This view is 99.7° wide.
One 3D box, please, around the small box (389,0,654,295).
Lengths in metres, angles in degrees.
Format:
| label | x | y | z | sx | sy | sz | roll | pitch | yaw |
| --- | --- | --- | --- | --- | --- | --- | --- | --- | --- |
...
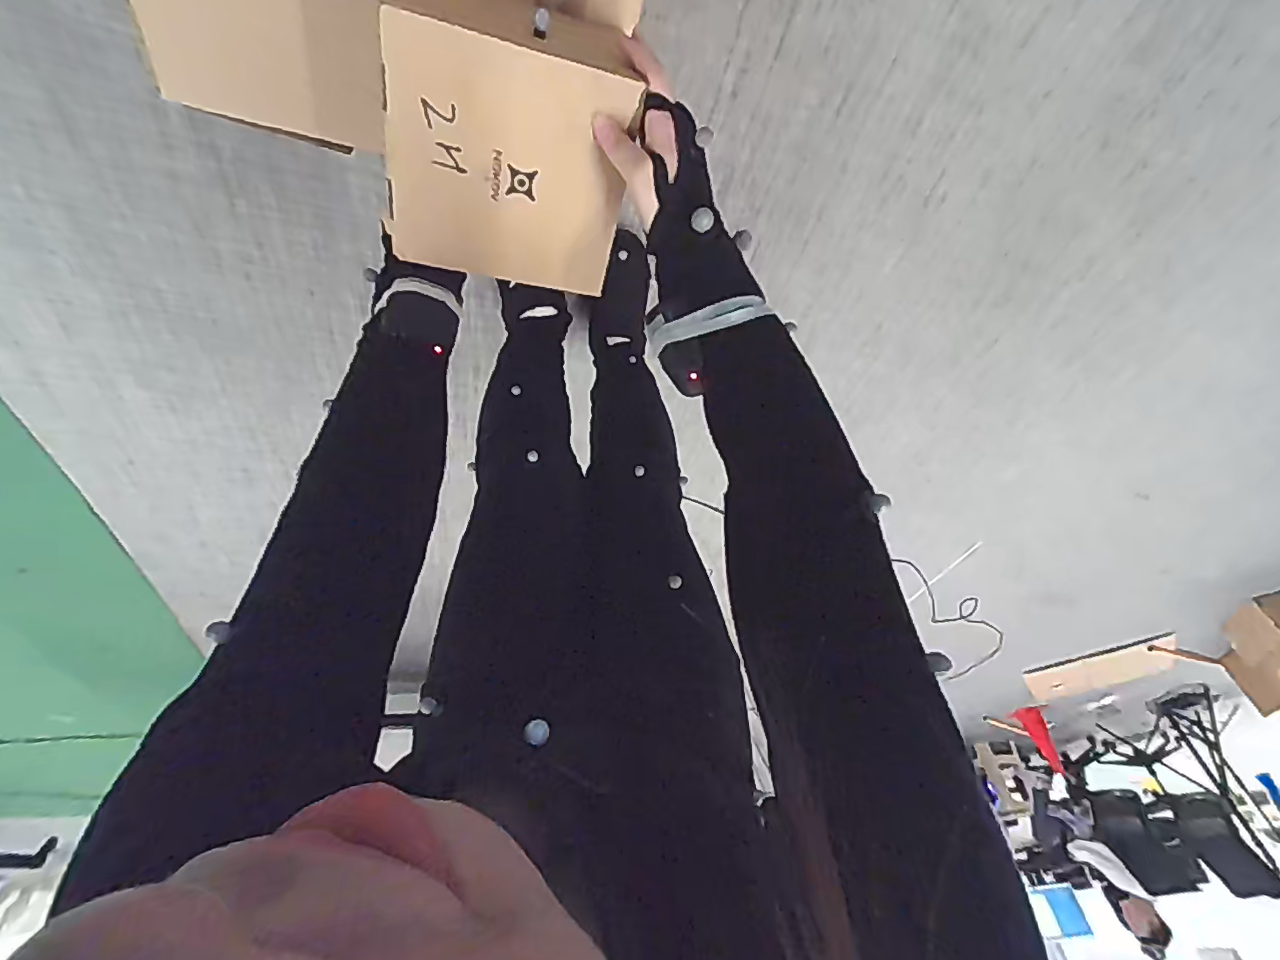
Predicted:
| label | x | y | z | sx | sy | sz | roll | pitch | yaw |
| --- | --- | --- | --- | --- | --- | --- | --- | --- | --- |
| small box | -0.102 | -0.289 | 0.462 | 0.179 | 0.176 | 0.168 | 7 | 137 | -15 |
